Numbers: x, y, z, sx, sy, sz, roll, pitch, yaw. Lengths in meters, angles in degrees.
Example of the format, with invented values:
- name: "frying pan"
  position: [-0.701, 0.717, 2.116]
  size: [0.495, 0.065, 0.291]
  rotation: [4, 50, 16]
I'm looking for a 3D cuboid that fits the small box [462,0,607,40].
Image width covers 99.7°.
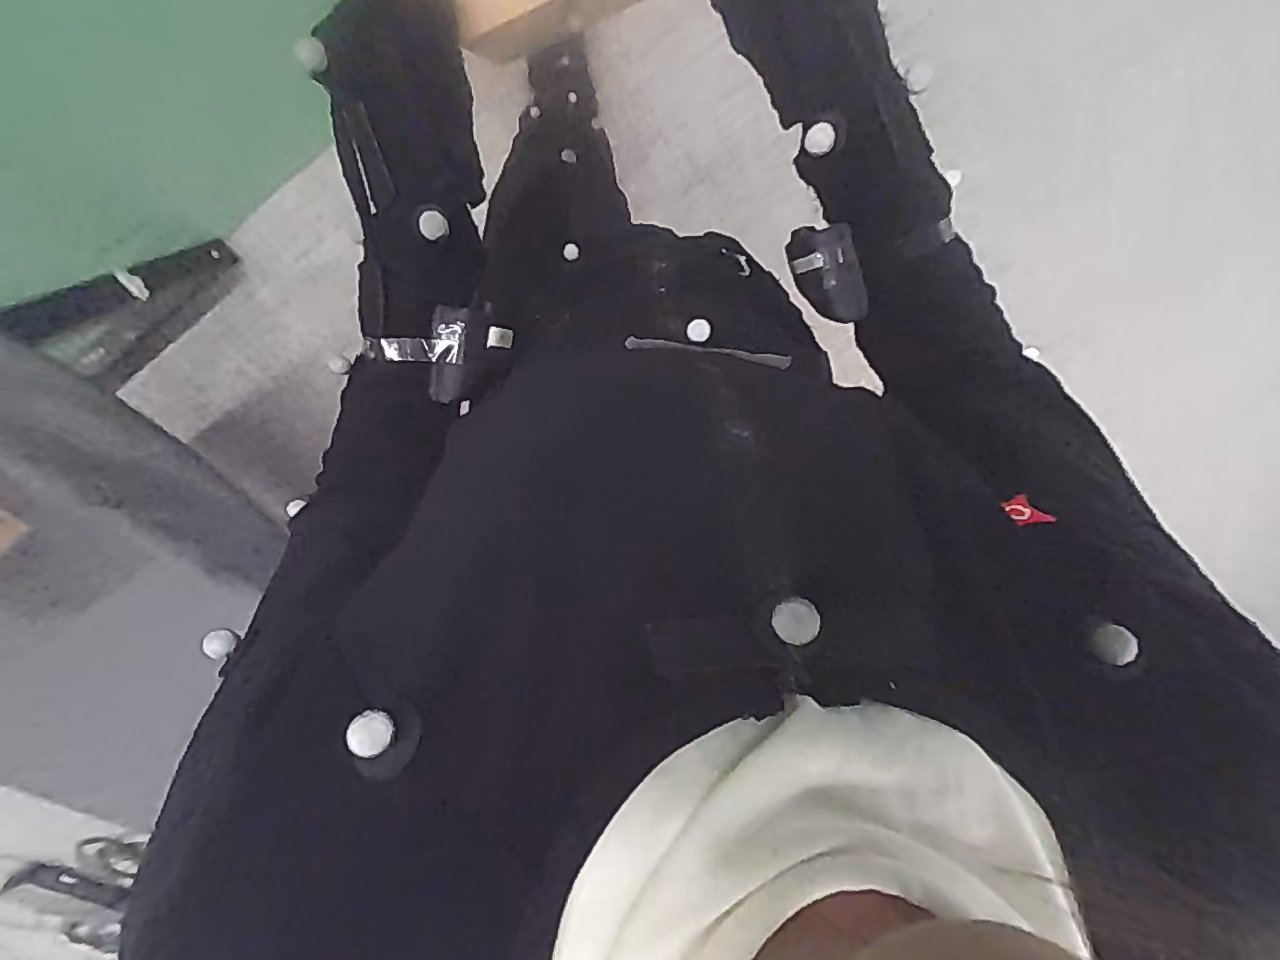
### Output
- name: "small box"
  position: [-0.055, -0.387, 0.301]
  size: [0.168, 0.176, 0.179]
  rotation: [-19, 124, 6]
